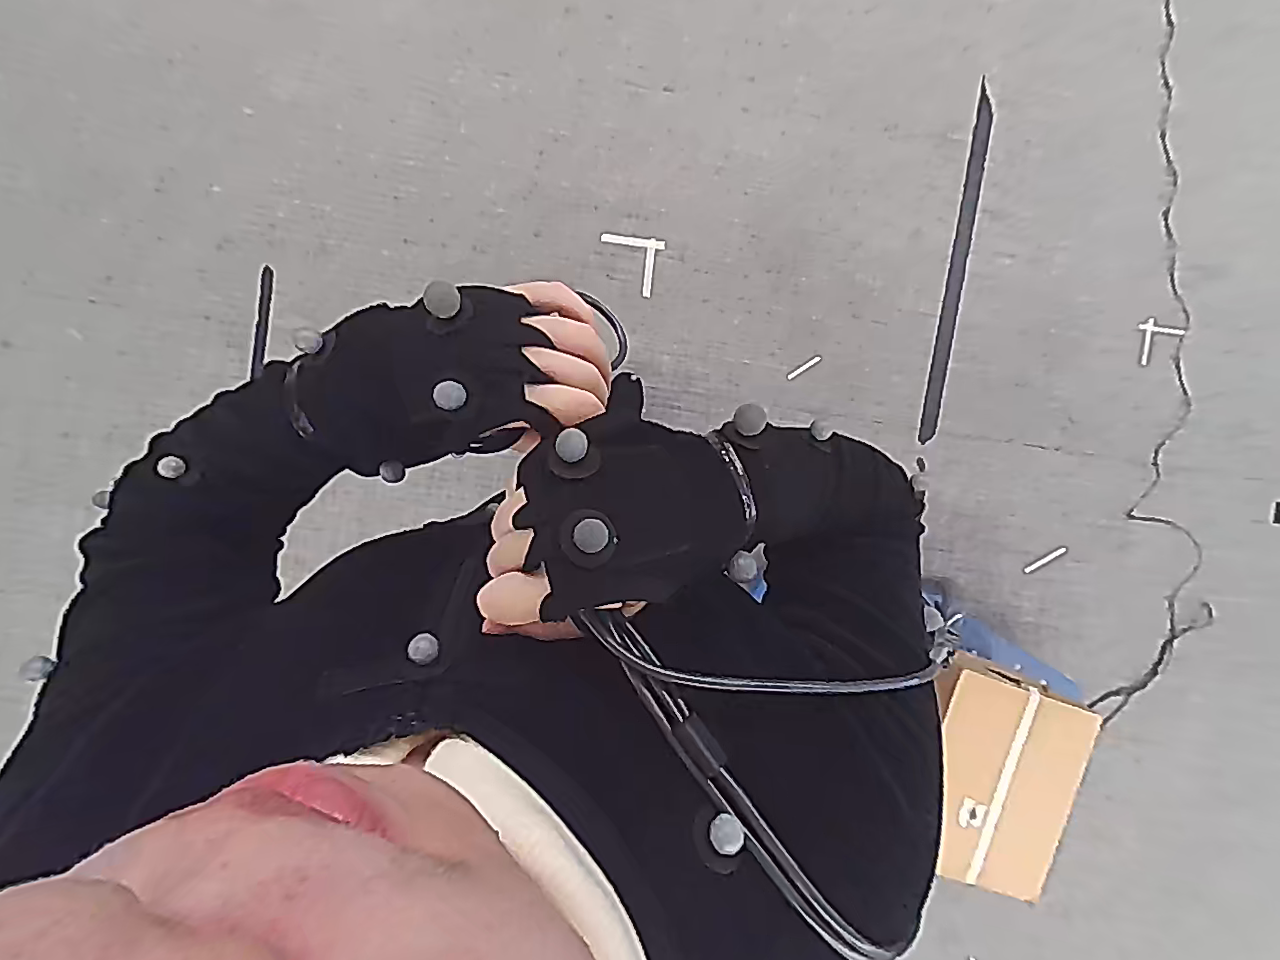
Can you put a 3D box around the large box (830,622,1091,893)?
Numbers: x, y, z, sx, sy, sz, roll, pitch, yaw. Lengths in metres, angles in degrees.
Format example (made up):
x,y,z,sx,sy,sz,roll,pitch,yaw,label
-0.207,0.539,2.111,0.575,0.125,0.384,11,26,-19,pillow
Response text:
x,y,z,sx,sy,sz,roll,pitch,yaw,label
0.690,0.592,1.223,0.320,0.320,0.408,20,91,-3,large box
